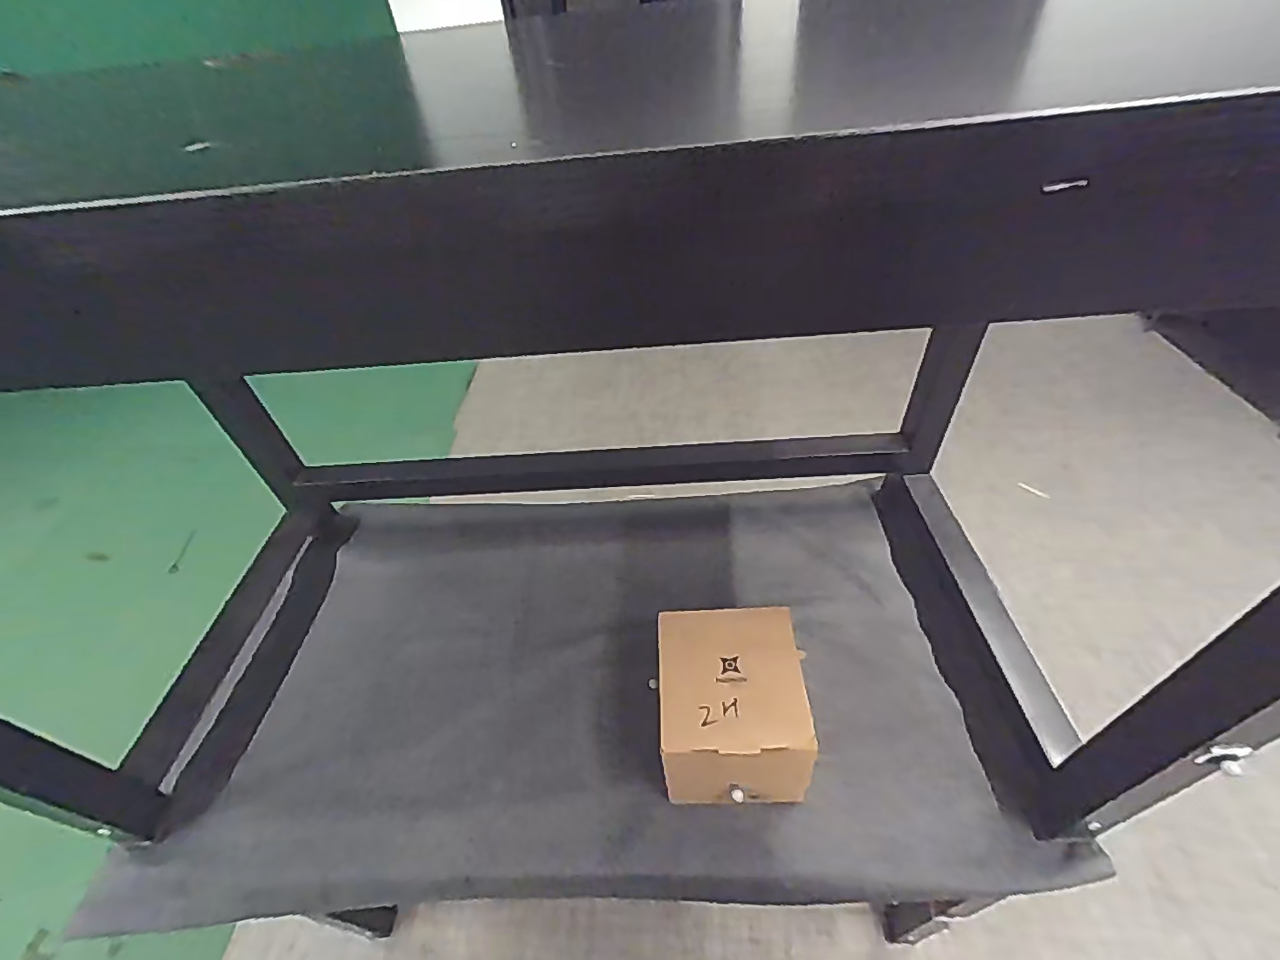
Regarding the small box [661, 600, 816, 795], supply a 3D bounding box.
[{"bbox_3d":[0.113,0.274,0.684,0.168,0.176,0.179,-4,42,5],"label":"small box"}]
